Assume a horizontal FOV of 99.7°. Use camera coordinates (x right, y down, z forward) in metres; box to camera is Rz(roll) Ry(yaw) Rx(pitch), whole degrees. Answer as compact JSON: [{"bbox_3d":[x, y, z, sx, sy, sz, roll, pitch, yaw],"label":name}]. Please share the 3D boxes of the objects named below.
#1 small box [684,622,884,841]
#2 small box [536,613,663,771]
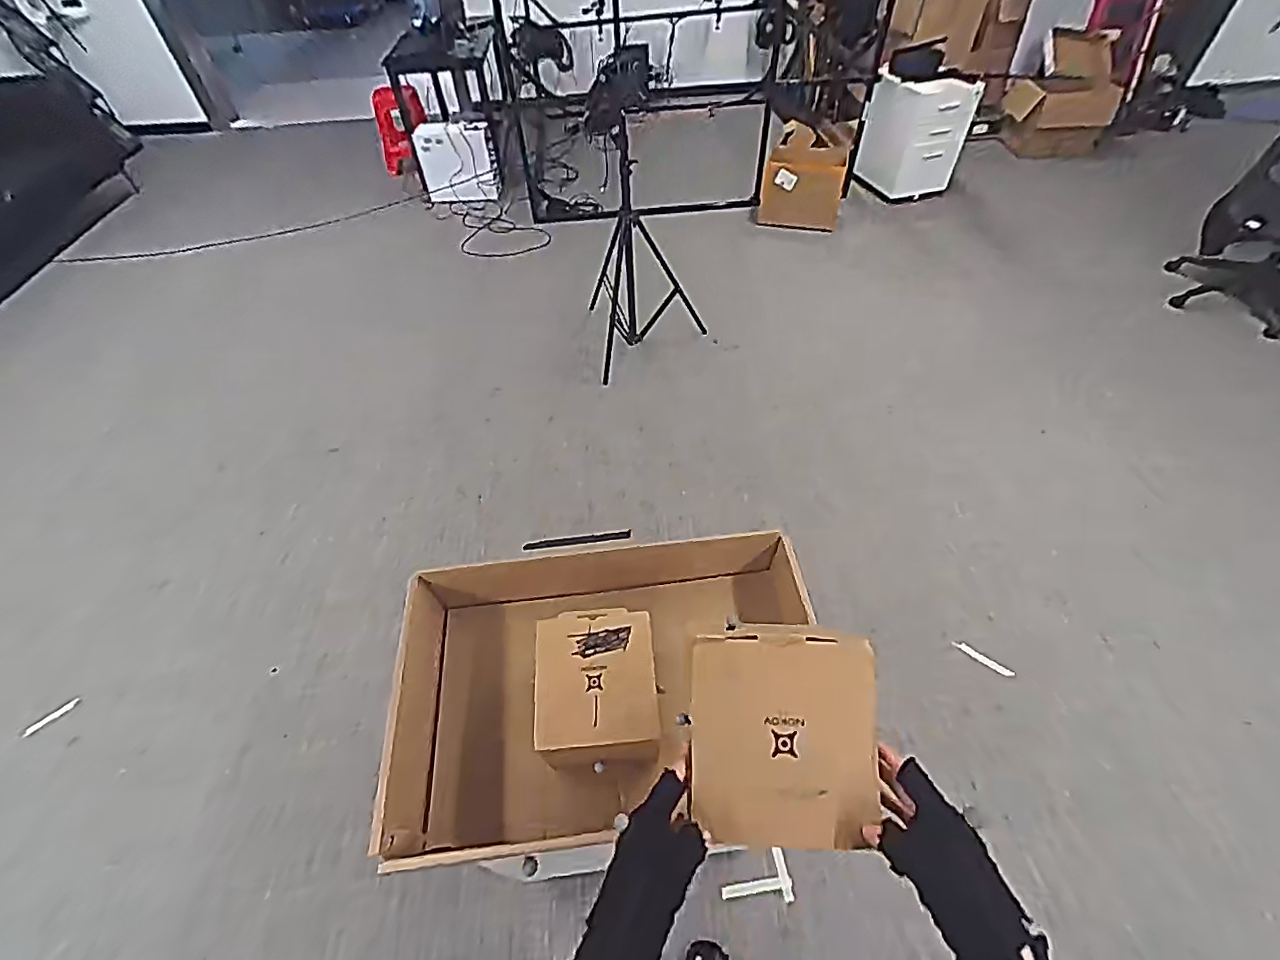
[{"bbox_3d":[0.133,0.242,0.564,0.168,0.176,0.179,0,79,2],"label":"small box"},{"bbox_3d":[-0.057,0.317,0.802,0.168,0.176,0.179,-5,55,-2],"label":"small box"}]
